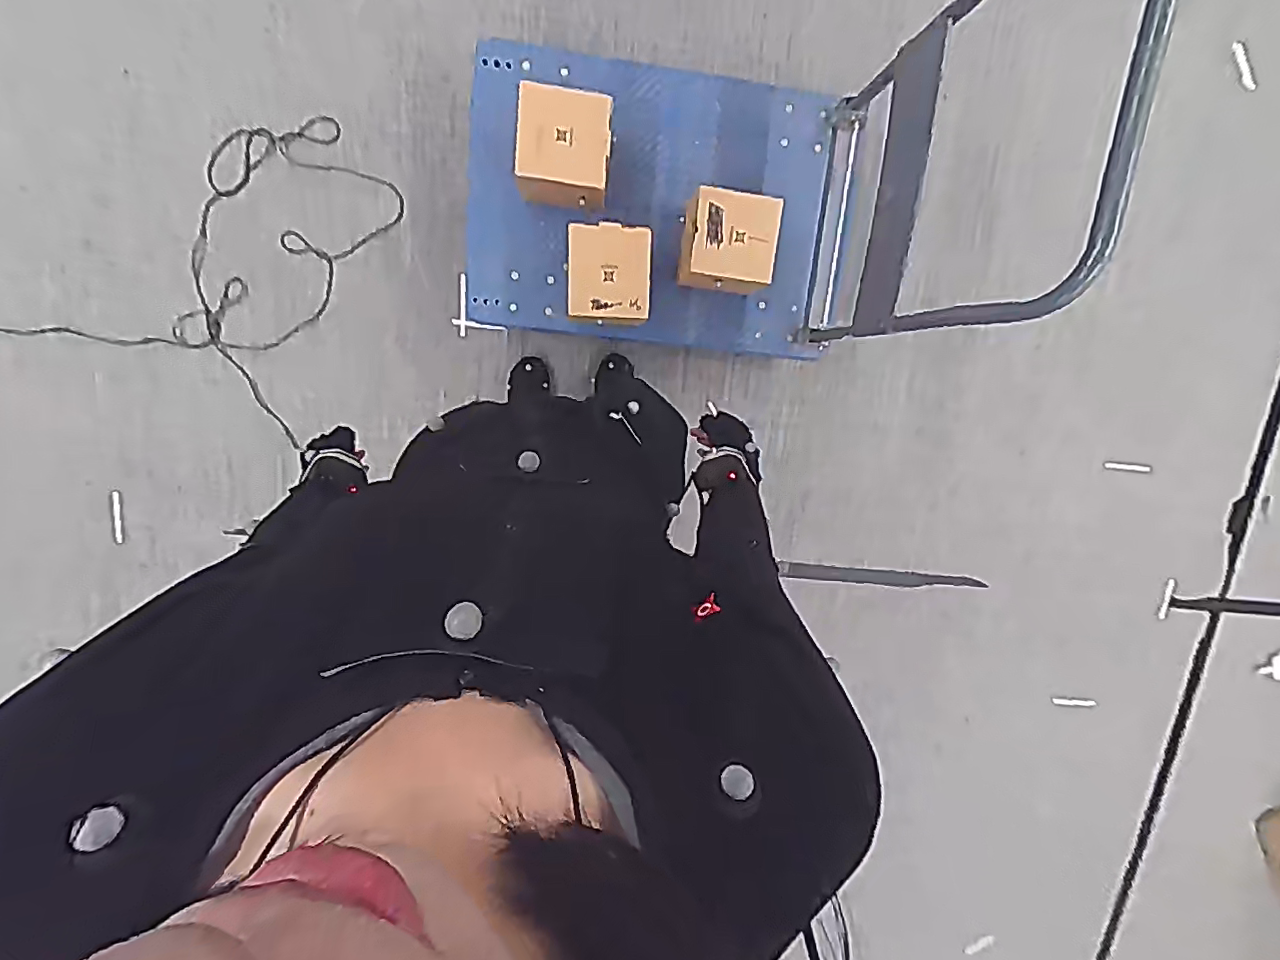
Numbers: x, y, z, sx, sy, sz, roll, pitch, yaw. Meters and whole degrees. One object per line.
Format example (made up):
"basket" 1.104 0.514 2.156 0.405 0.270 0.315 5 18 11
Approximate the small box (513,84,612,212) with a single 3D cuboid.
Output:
"small box" -0.156 -0.667 1.108 0.179 0.176 0.168 5 100 -6

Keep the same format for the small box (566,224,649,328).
"small box" -0.074 -0.430 1.164 0.168 0.176 0.179 1 100 -6

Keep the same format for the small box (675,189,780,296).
"small box" 0.180 -0.505 1.173 0.179 0.176 0.168 7 100 -8
